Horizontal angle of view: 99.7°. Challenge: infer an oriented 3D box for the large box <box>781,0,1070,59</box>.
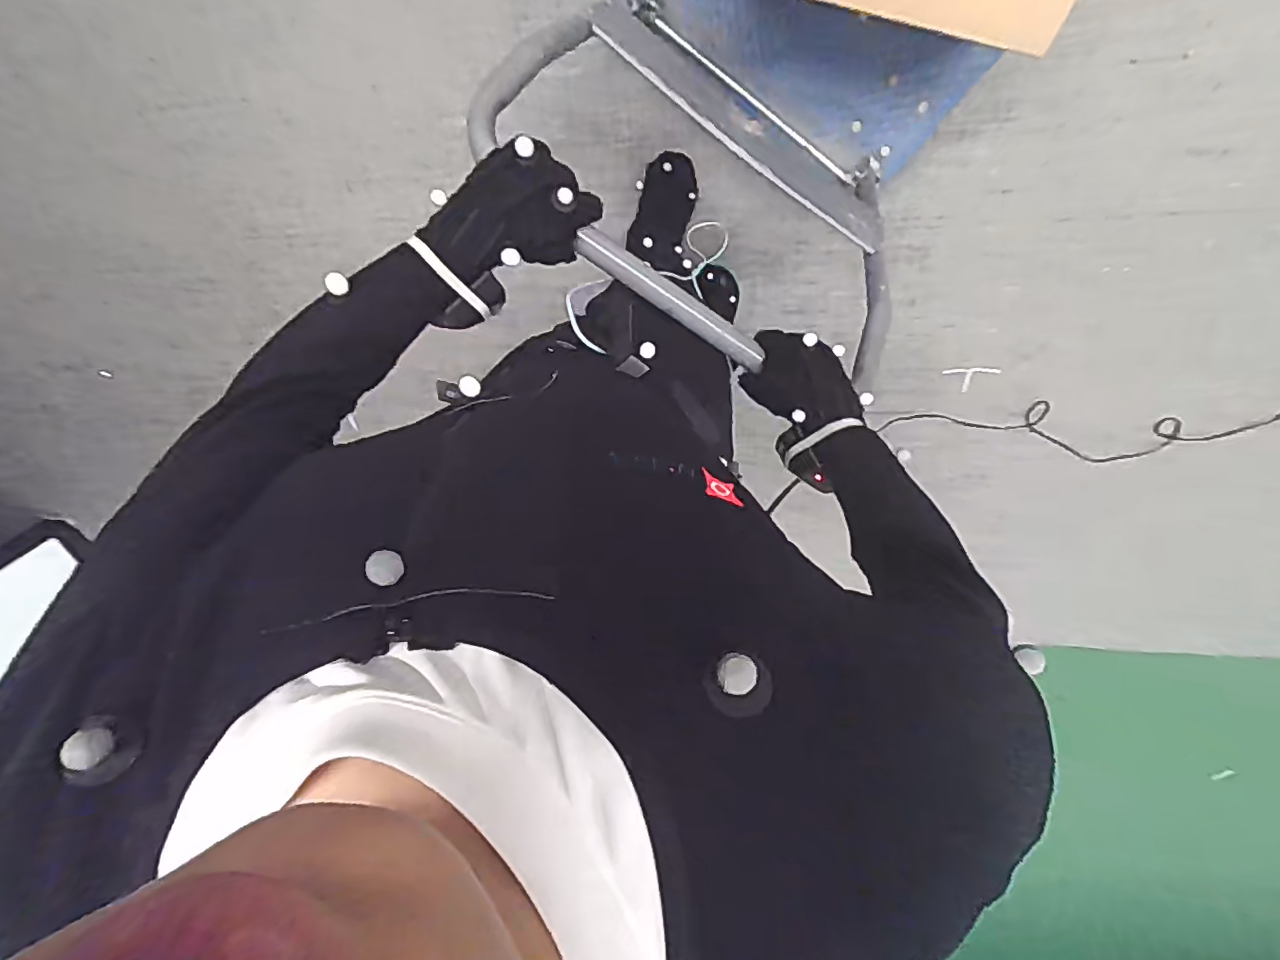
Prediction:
[{"bbox_3d":[0.343,-0.758,0.645,0.408,0.320,0.320,17,135,2],"label":"large box"}]
